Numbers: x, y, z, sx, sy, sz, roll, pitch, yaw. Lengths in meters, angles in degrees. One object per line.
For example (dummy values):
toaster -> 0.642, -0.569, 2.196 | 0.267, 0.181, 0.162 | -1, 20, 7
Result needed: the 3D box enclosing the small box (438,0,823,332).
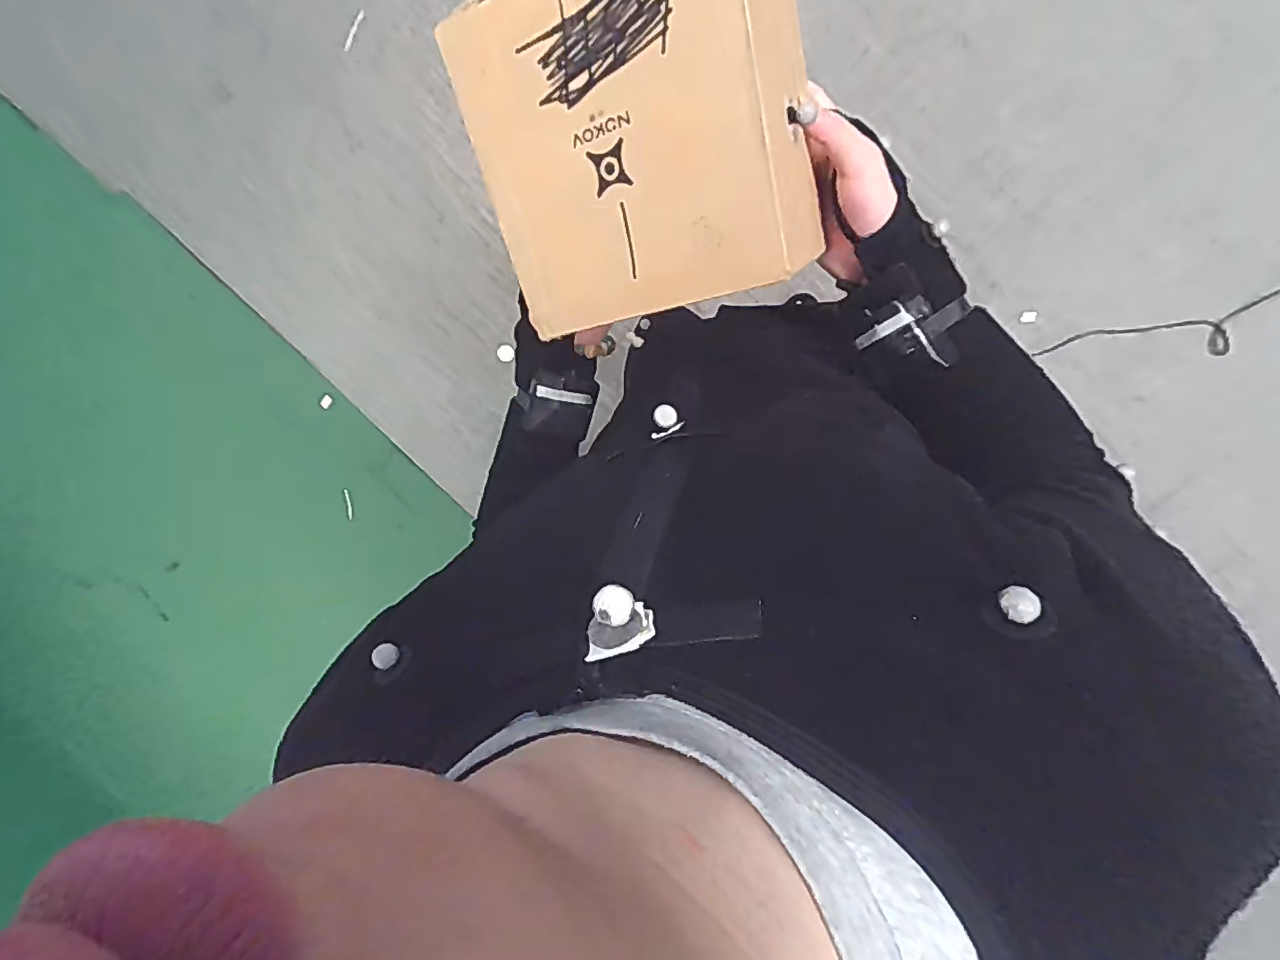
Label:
small box -> 0.014, -0.212, 0.349 | 0.168, 0.176, 0.179 | -4, 114, 29
